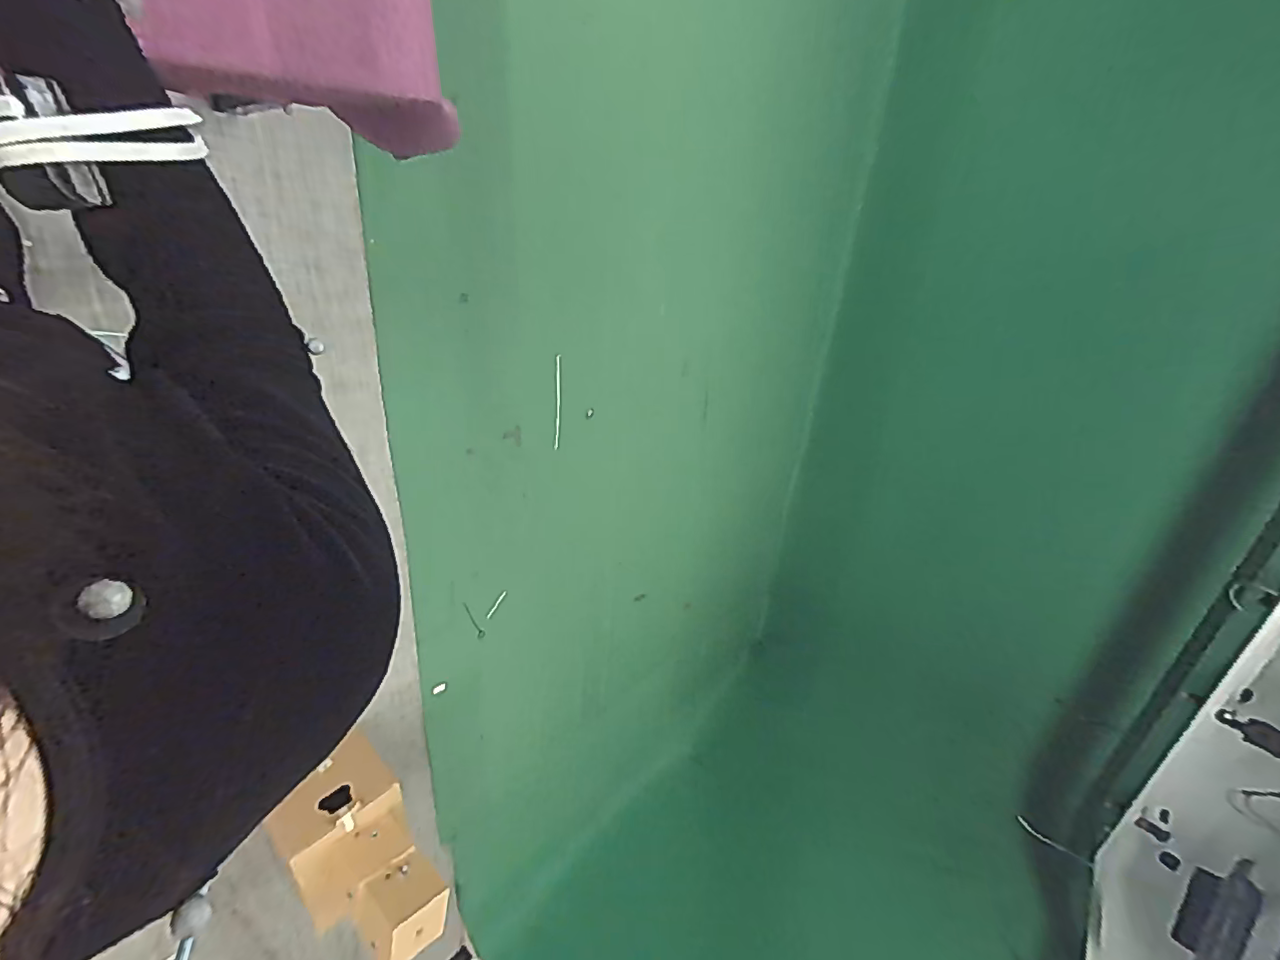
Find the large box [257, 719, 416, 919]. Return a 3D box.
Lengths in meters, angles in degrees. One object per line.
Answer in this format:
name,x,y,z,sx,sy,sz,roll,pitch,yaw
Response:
large box,-0.973,1.084,1.760,0.320,0.320,0.408,-25,130,-44

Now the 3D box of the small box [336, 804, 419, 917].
small box,-0.782,1.120,1.606,0.168,0.176,0.179,-13,119,-51

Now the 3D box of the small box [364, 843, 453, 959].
small box,-0.656,1.182,1.523,0.168,0.176,0.179,-8,115,-53
